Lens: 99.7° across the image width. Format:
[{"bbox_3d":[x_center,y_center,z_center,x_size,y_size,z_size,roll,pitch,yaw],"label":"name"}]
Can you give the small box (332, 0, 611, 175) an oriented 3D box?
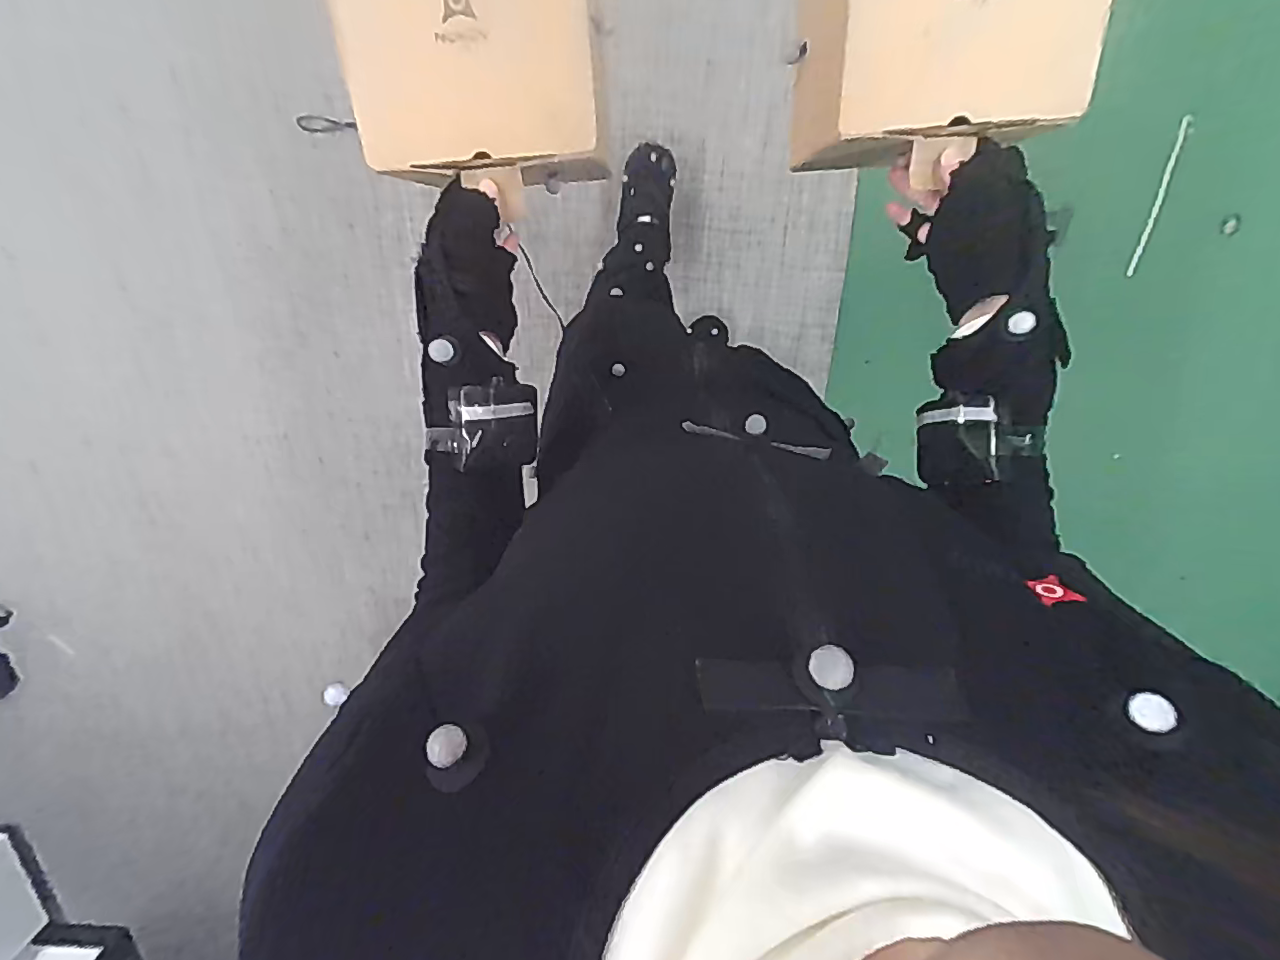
[{"bbox_3d":[-0.114,-0.343,0.416,0.168,0.176,0.179,-4,113,2],"label":"small box"}]
